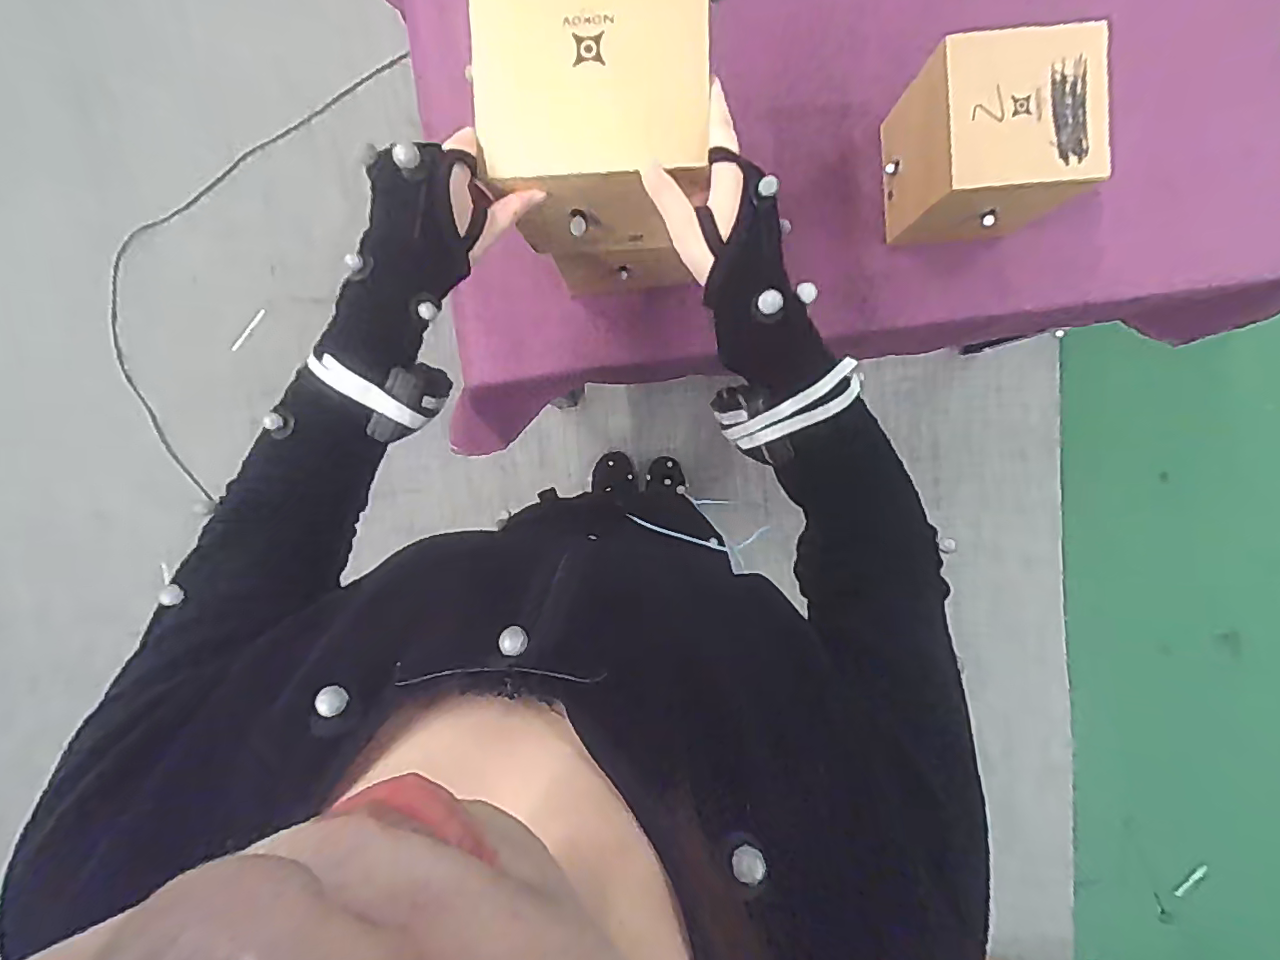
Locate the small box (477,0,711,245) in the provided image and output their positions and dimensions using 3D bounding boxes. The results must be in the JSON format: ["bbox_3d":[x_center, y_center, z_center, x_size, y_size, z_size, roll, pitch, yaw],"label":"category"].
[{"bbox_3d":[-0.027,-0.309,0.453,0.168,0.176,0.179,-1,94,3],"label":"small box"}]

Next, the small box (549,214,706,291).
[{"bbox_3d":[-0.020,-0.346,0.672,0.179,0.176,0.168,-5,93,1],"label":"small box"}]
